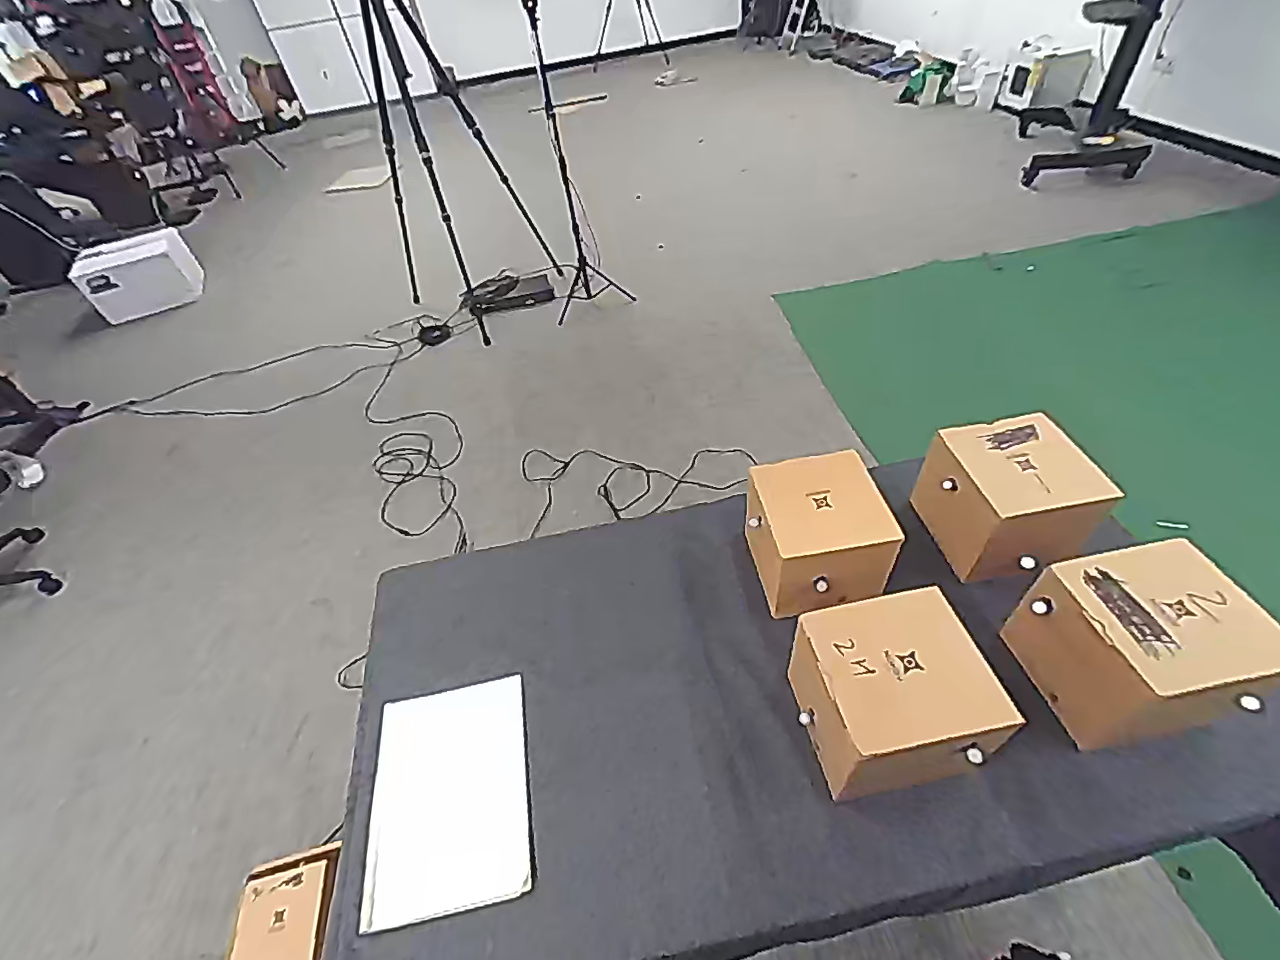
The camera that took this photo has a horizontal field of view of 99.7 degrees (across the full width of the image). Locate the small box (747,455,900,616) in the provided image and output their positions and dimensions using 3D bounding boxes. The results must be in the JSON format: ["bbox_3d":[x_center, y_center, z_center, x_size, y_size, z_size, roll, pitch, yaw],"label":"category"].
[{"bbox_3d":[0.264,0.091,0.822,0.168,0.176,0.179,-10,46,0],"label":"small box"}]

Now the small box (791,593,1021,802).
[{"bbox_3d":[0.295,0.262,0.649,0.179,0.176,0.168,-11,45,-1],"label":"small box"}]

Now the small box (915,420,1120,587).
[{"bbox_3d":[0.549,0.037,0.823,0.168,0.176,0.179,-10,47,1],"label":"small box"}]
